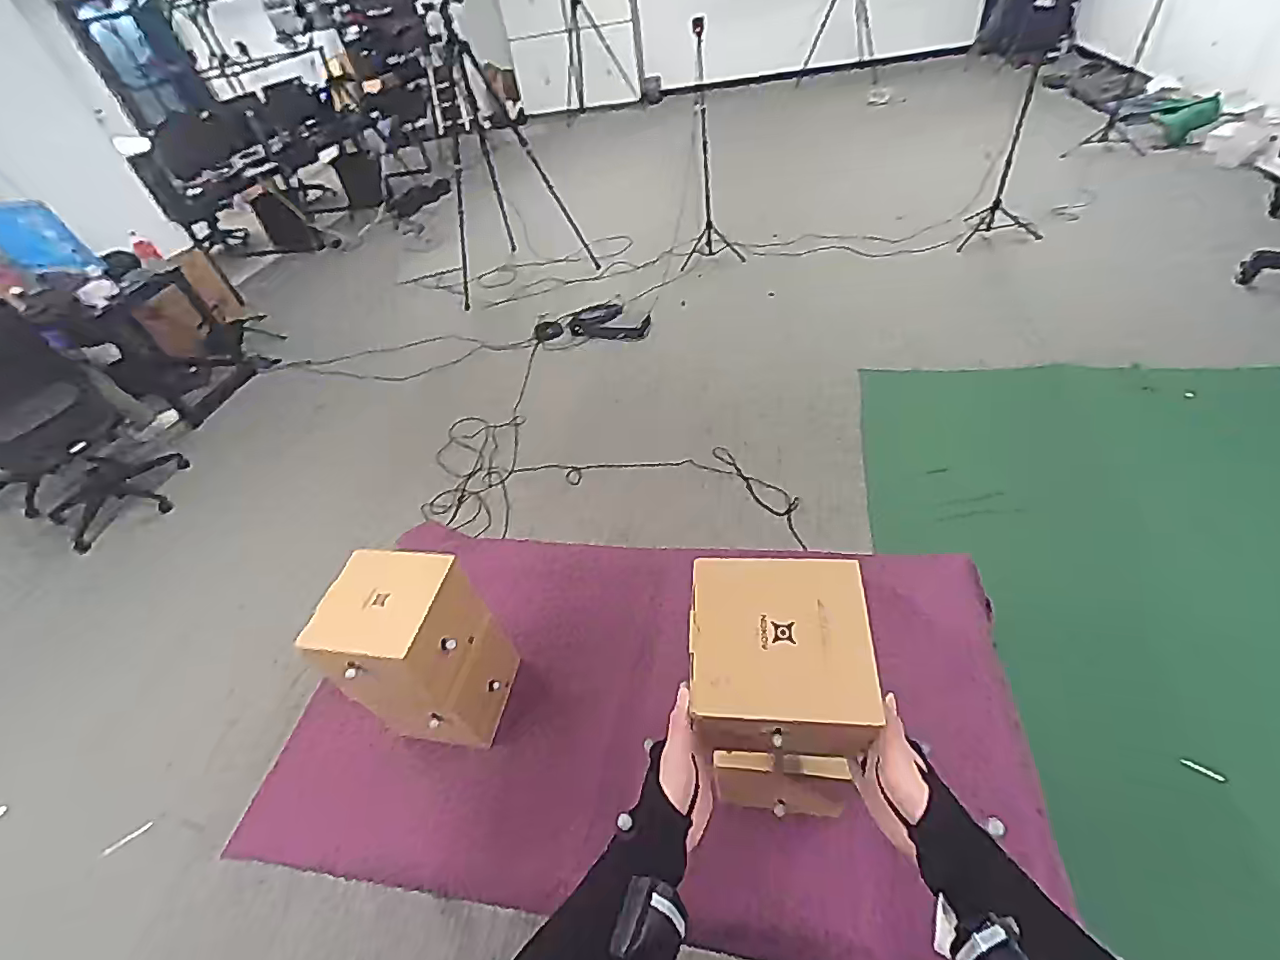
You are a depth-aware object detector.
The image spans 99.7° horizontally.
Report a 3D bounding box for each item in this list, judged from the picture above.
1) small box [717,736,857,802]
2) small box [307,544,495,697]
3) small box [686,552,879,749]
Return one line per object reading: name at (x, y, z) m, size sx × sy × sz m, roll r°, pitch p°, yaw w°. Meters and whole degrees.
small box at (0.210, 0.358, 0.800) m, size 0.179 × 0.176 × 0.168 m, roll 0°, pitch 46°, yaw 13°
small box at (-0.350, 0.218, 0.833) m, size 0.179 × 0.176 × 0.168 m, roll 1°, pitch 47°, yaw 14°
small box at (0.148, 0.193, 0.603) m, size 0.179 × 0.176 × 0.168 m, roll 0°, pitch 55°, yaw 9°
